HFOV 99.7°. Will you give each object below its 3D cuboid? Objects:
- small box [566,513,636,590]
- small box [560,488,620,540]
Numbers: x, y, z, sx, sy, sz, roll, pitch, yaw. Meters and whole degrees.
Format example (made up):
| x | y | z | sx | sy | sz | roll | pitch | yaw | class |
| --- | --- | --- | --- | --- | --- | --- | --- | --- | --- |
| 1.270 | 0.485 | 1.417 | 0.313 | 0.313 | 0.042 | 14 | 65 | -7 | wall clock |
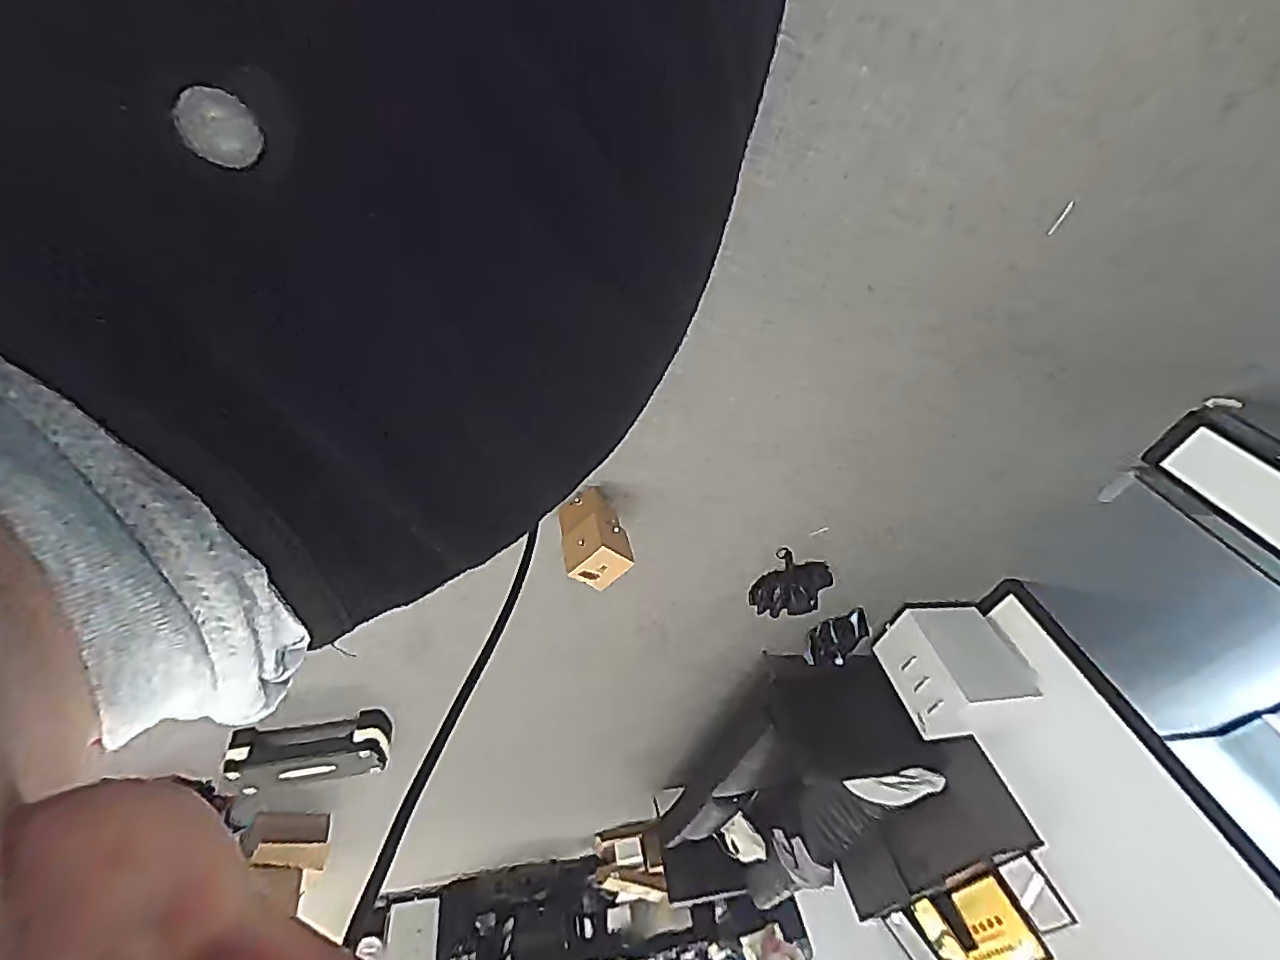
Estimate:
| x | y | z | sx | sy | sz | roll | pitch | yaw | class |
| --- | --- | --- | --- | --- | --- | --- | --- | --- | --- |
| -0.142 | 0.248 | 1.888 | 0.179 | 0.176 | 0.168 | -41 | 130 | 18 | small box |
| -0.180 | 0.162 | 2.026 | 0.168 | 0.176 | 0.179 | -31 | 131 | 11 | small box |
